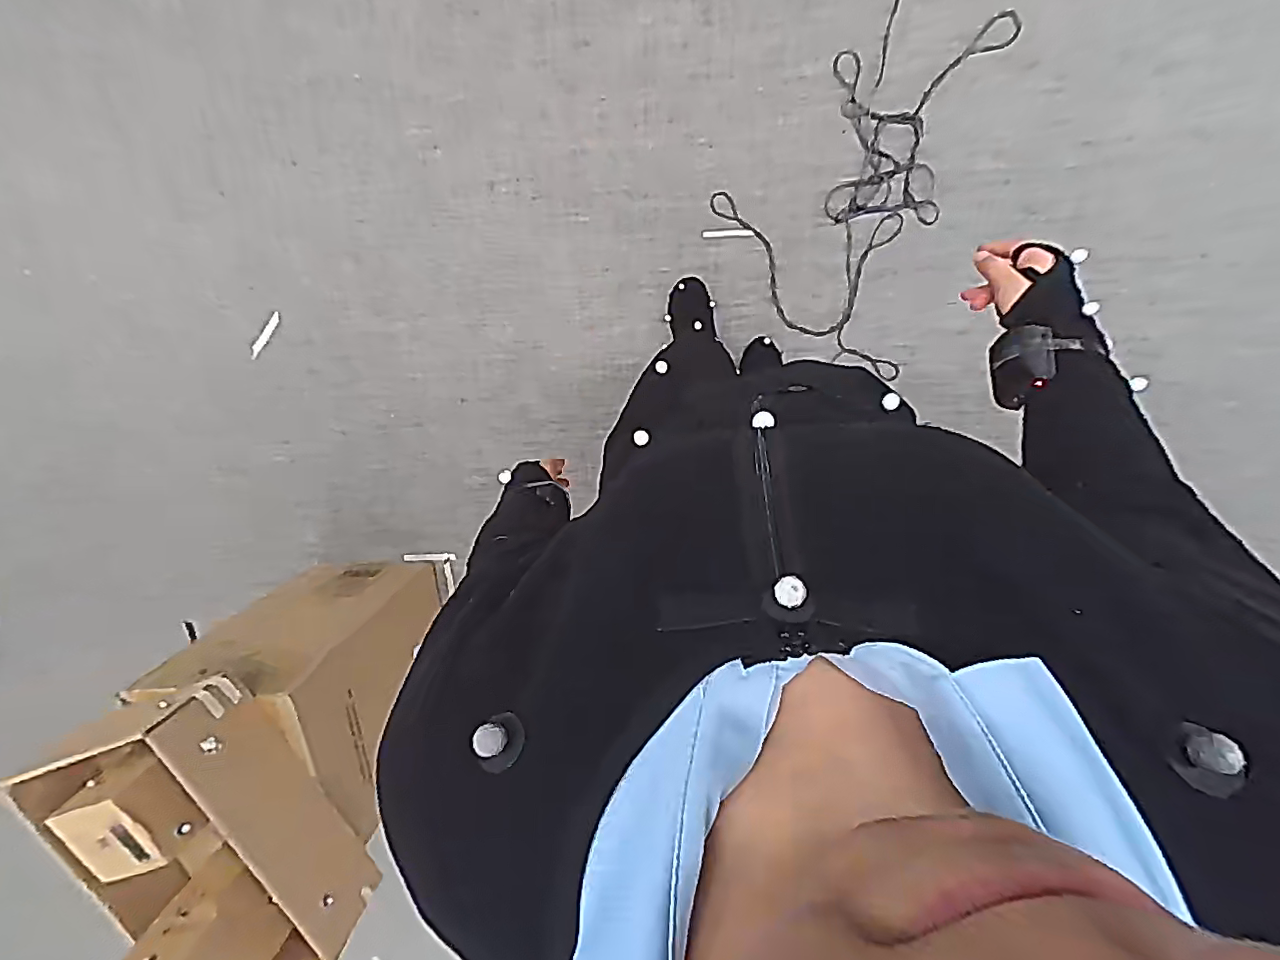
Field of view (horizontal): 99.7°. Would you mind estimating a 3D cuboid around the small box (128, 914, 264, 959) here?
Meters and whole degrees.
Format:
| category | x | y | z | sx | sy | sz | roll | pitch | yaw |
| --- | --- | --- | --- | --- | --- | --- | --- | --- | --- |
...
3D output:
| category | x | y | z | sx | sy | sz | roll | pitch | yaw |
| --- | --- | --- | --- | --- | --- | --- | --- | --- | --- |
| small box | -0.828 | 0.921 | 0.969 | 0.168 | 0.176 | 0.179 | -17 | 105 | 11 |
